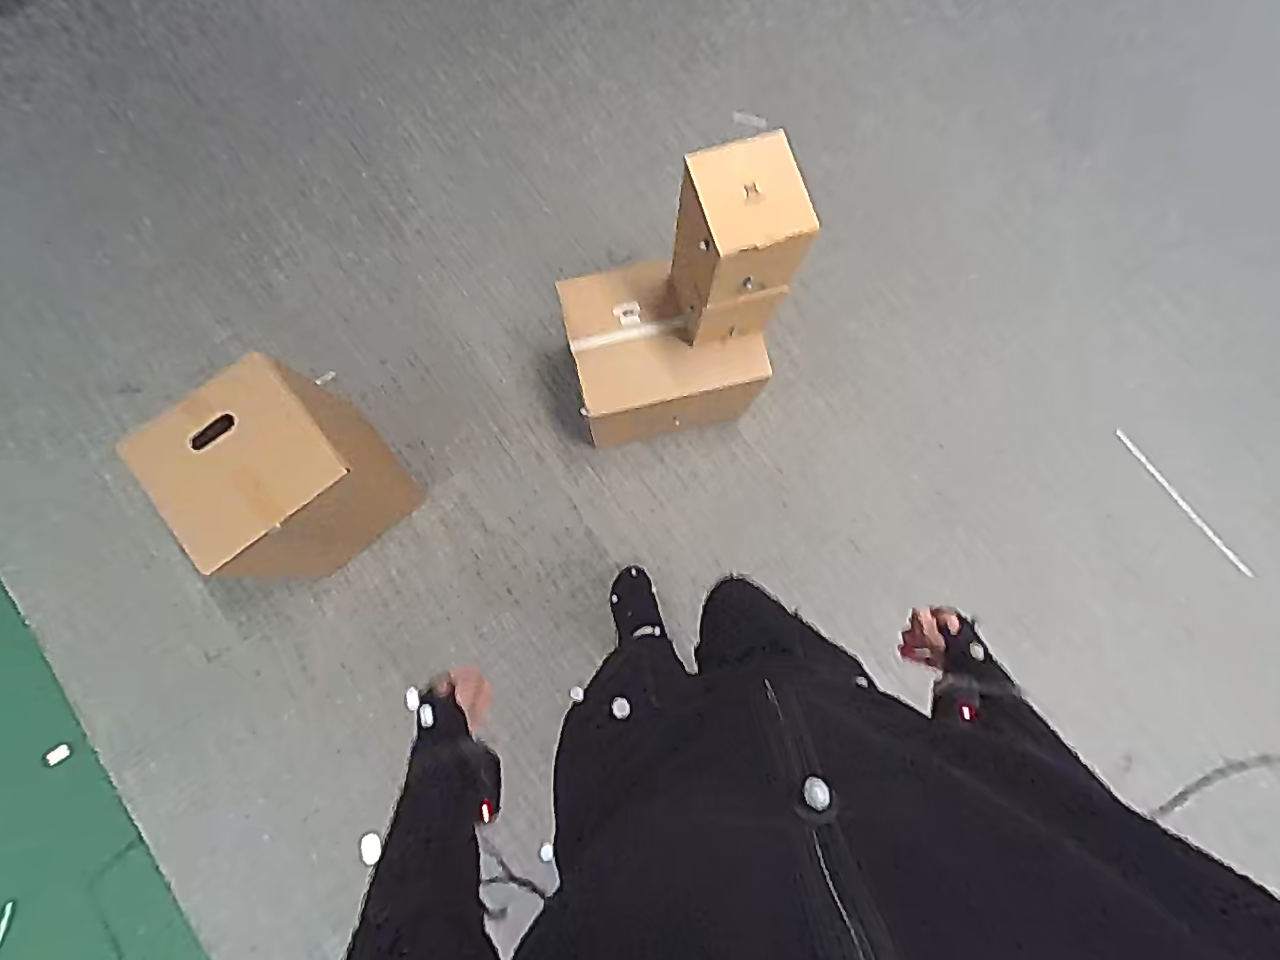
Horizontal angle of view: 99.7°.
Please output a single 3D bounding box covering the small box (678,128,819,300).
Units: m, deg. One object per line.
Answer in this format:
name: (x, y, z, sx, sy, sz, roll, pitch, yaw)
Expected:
small box: (0.168, -0.434, 0.905, 0.168, 0.176, 0.179, -17, 82, -4)
